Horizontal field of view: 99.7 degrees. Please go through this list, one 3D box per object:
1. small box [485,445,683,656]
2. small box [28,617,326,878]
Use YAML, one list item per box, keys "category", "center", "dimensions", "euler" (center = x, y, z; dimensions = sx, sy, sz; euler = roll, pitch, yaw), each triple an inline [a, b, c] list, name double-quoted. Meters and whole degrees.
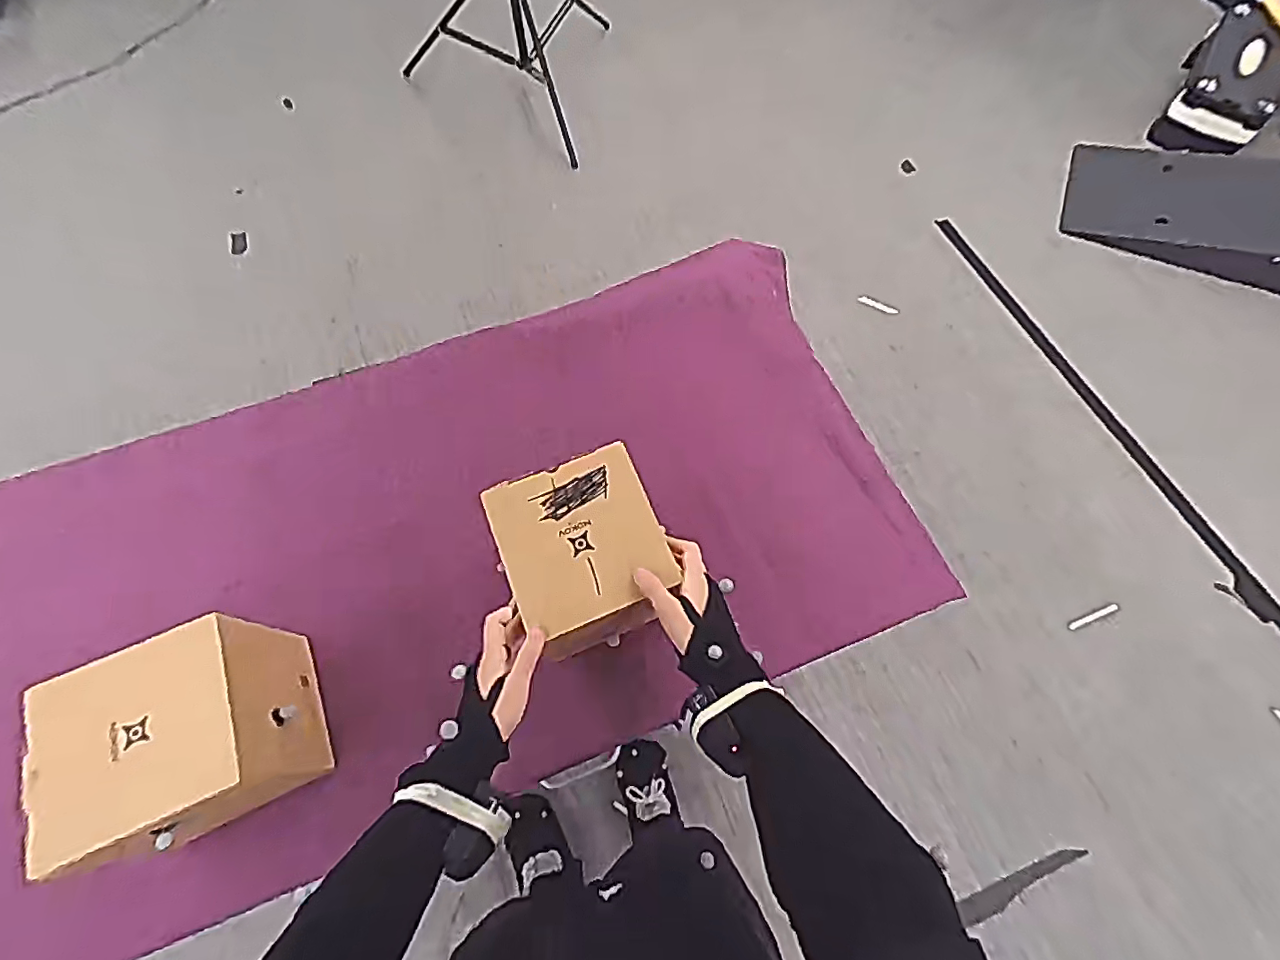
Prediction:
- category: "small box"
  center: [-0.064, 0.090, 0.639]
  dimensions: [0.168, 0.176, 0.179]
  euler: [-21, 70, -9]
- category: "small box"
  center: [-0.461, 0.264, 0.567]
  dimensions: [0.179, 0.176, 0.168]
  euler: [-24, 69, -9]
